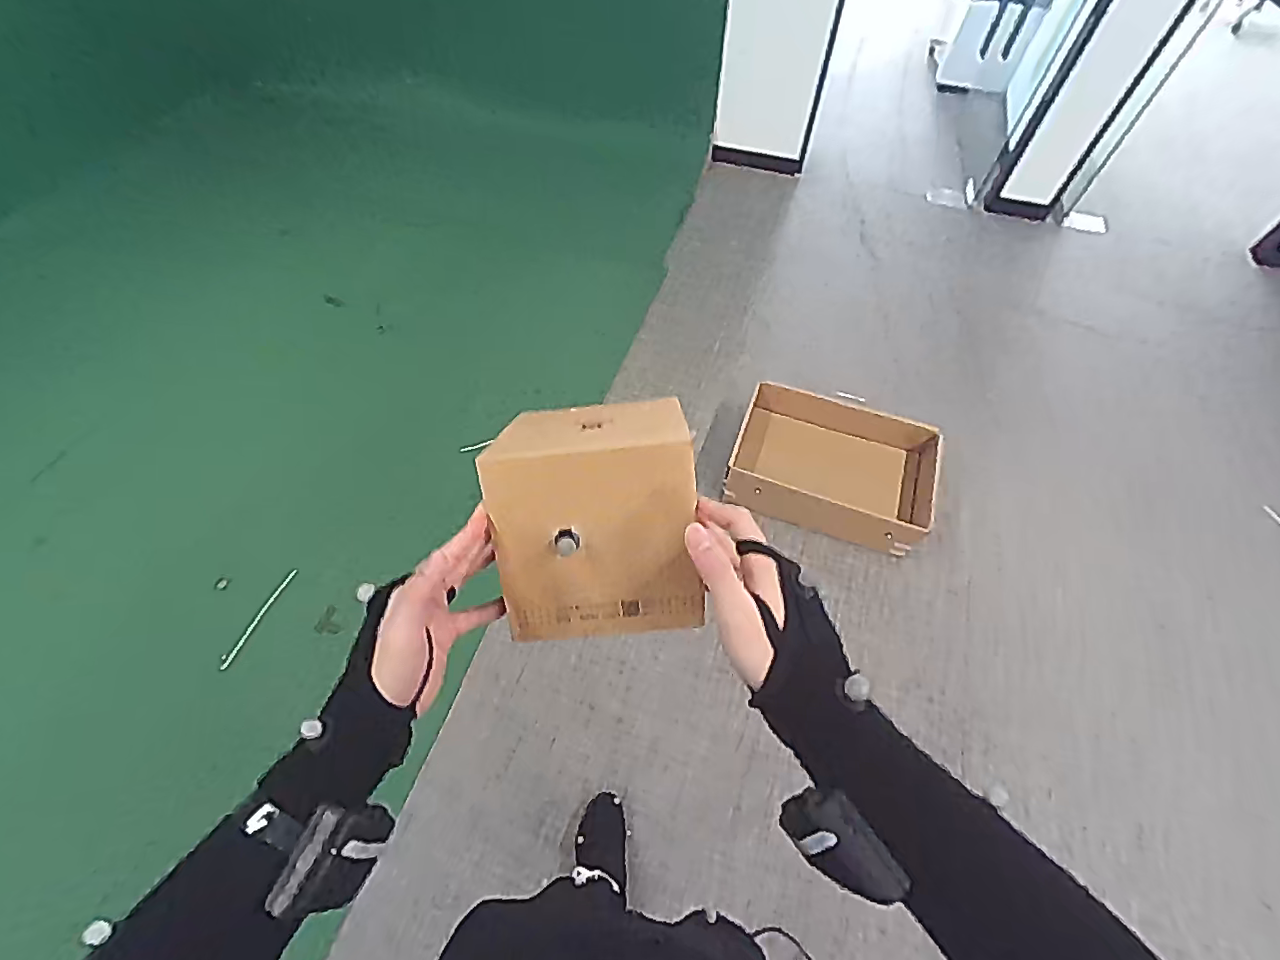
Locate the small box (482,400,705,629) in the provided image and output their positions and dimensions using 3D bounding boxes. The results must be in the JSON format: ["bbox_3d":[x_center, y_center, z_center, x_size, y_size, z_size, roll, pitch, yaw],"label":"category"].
[{"bbox_3d":[-0.032,0.028,0.513,0.168,0.176,0.179,-5,17,2],"label":"small box"}]
